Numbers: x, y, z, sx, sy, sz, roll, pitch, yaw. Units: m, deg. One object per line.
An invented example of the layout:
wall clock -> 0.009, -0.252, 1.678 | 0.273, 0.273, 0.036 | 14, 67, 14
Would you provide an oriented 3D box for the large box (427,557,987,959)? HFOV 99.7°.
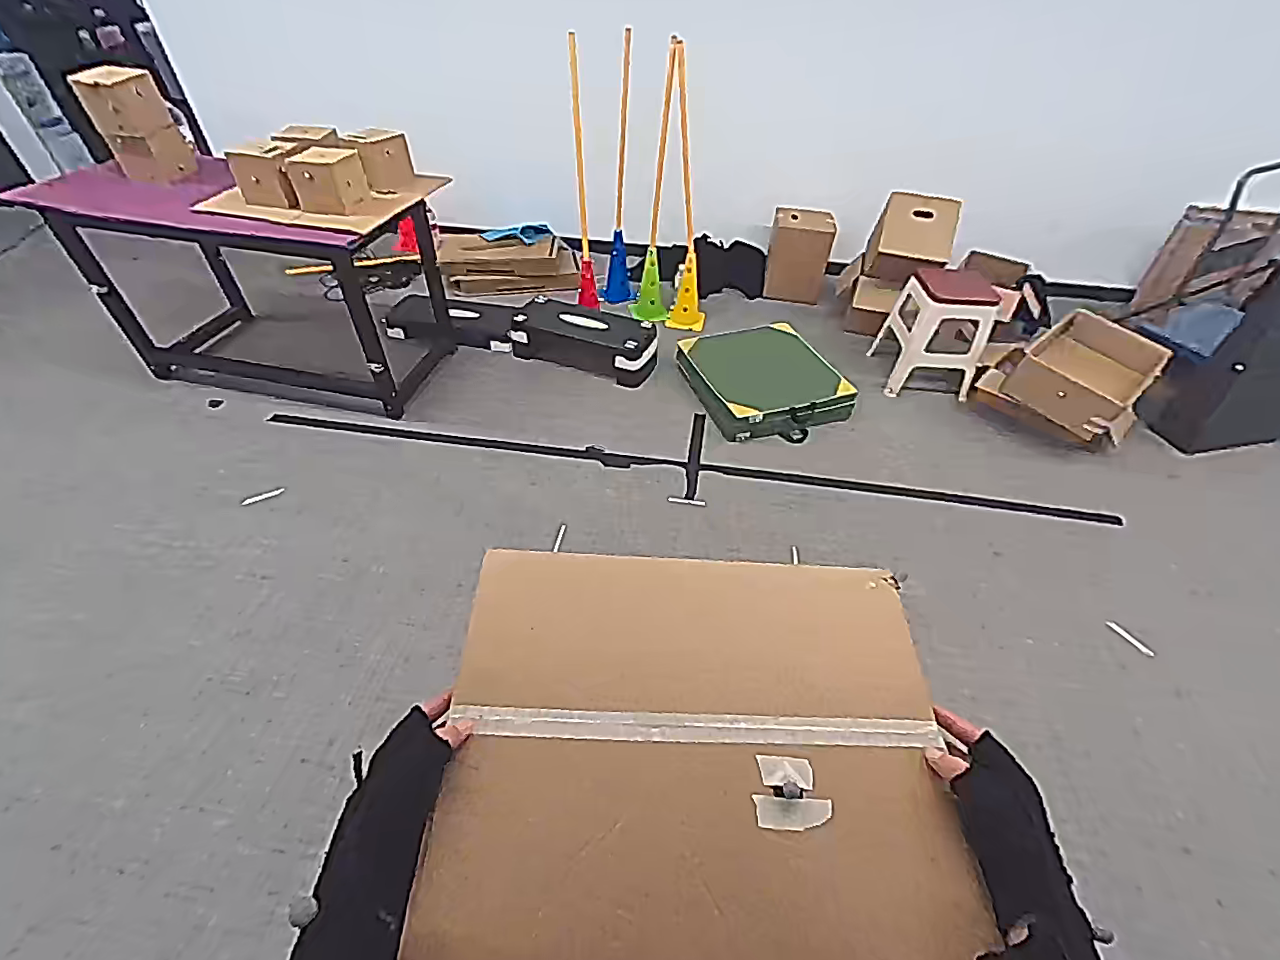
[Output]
large box -> 0.040, 0.297, 0.580 | 0.408, 0.320, 0.320 | 3, 53, -3
